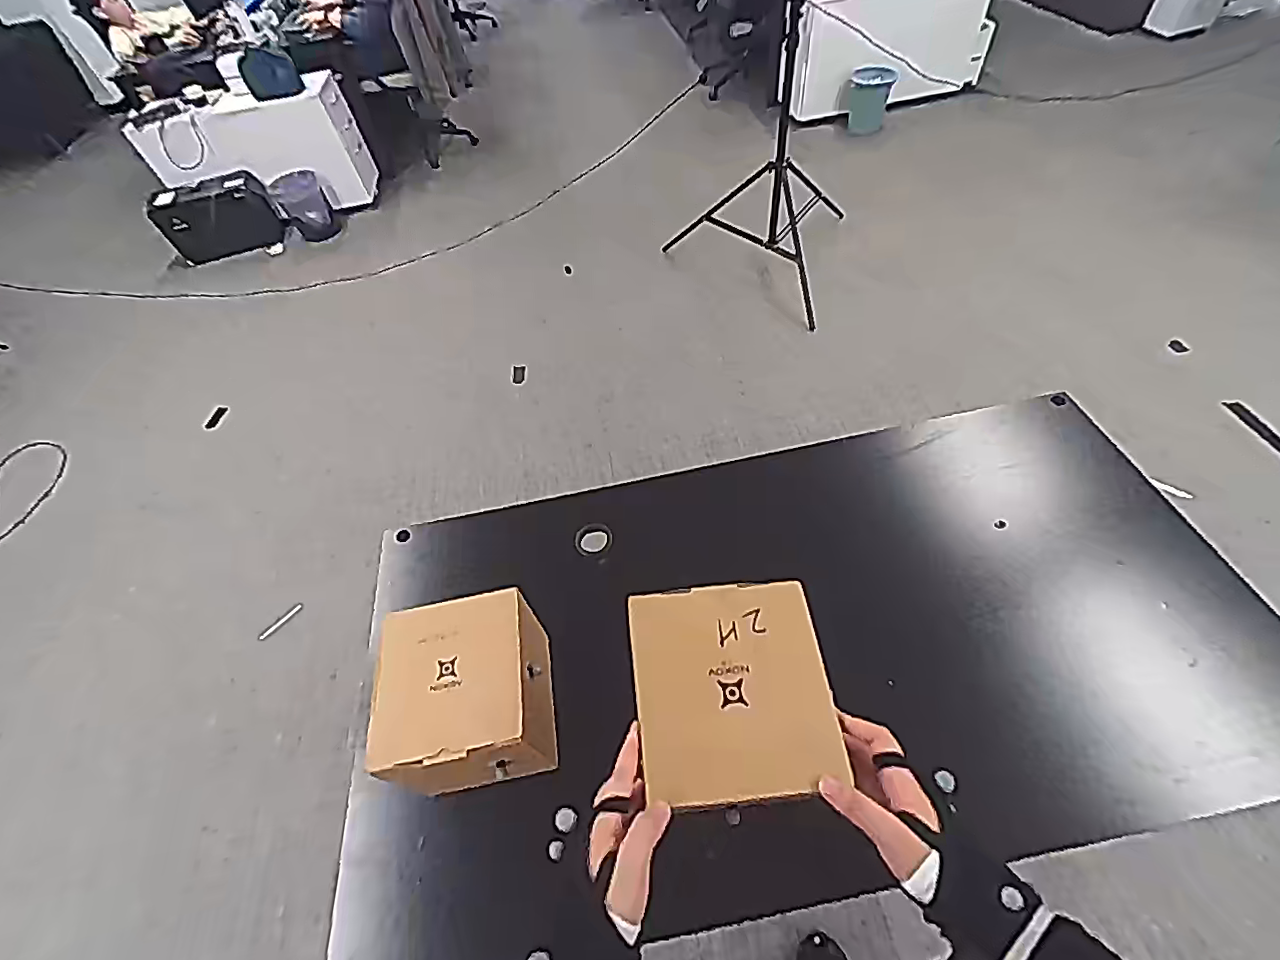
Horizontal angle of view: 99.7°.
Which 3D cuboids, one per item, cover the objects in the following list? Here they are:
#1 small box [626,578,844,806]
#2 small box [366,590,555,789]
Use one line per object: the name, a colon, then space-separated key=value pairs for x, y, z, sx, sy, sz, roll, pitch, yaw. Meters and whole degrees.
small box: x=0.077 y=0.215 z=0.534 sx=0.168 sy=0.176 sz=0.179 roll=-5 pitch=57 yaw=-2
small box: x=-0.205 y=0.263 z=0.663 sx=0.168 sy=0.176 sz=0.179 roll=-11 pitch=52 yaw=-3
